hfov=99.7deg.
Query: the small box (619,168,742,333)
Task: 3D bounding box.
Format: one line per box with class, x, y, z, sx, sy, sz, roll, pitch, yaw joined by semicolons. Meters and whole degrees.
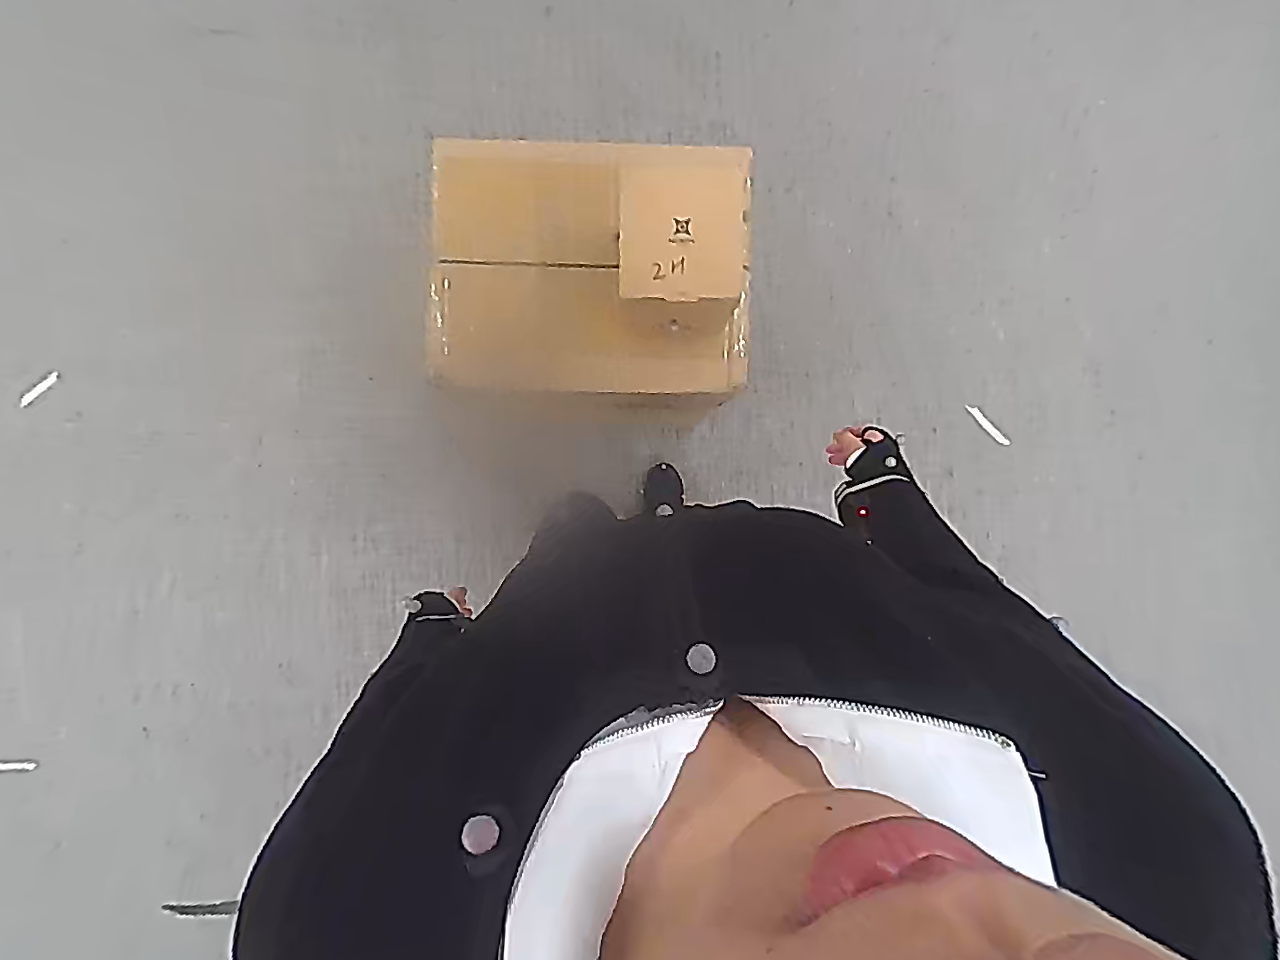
small box;0.052;-0.328;0.800;0.168;0.176;0.179;0;91;-1
